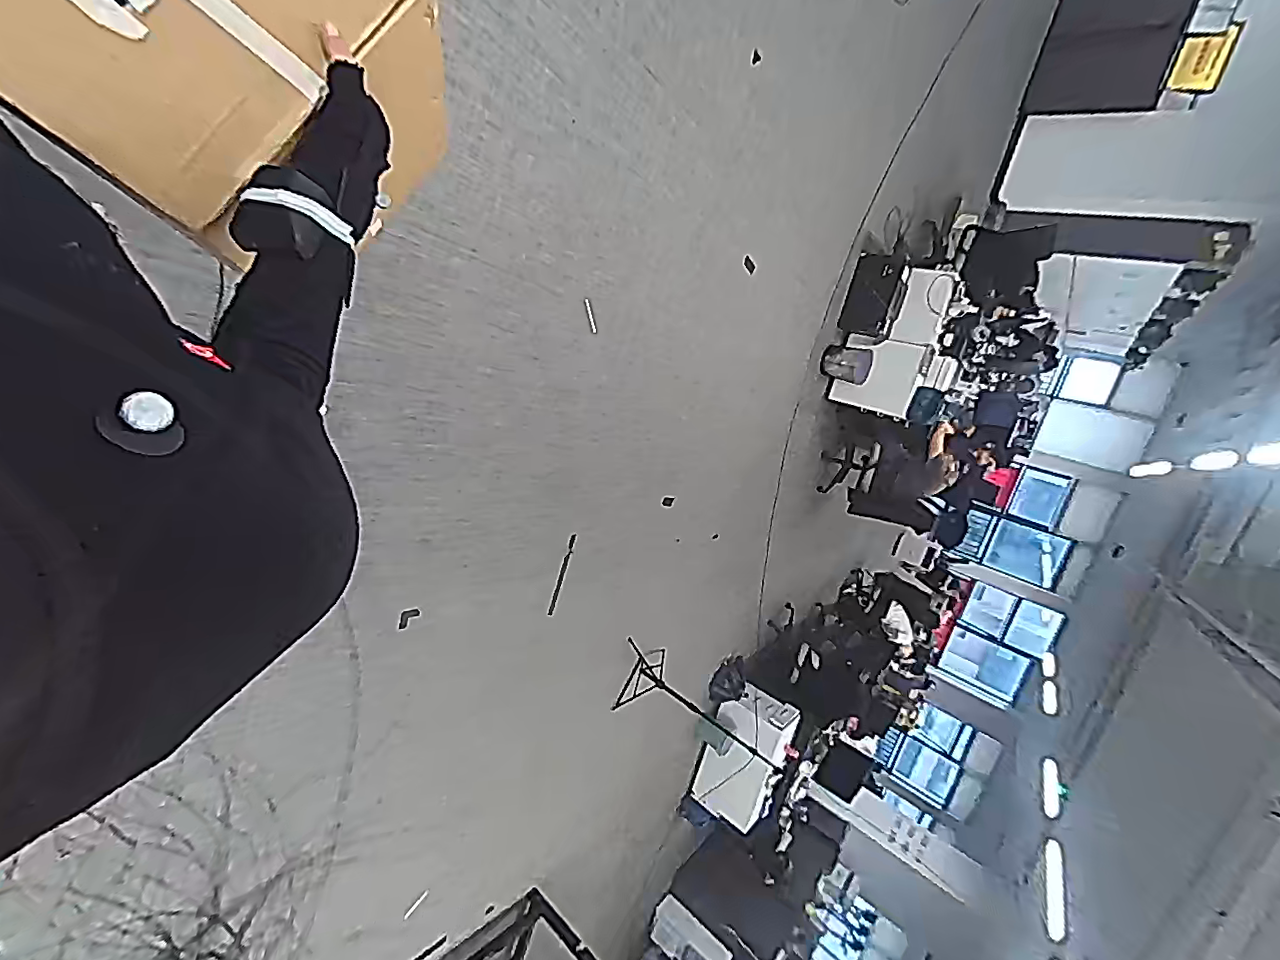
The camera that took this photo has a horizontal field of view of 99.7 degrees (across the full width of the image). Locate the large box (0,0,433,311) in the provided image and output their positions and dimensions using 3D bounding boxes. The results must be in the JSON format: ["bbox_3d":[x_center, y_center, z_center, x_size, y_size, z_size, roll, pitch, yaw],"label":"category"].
[{"bbox_3d":[-0.476,-0.446,0.549,0.408,0.320,0.320,37,84,-19],"label":"large box"}]
